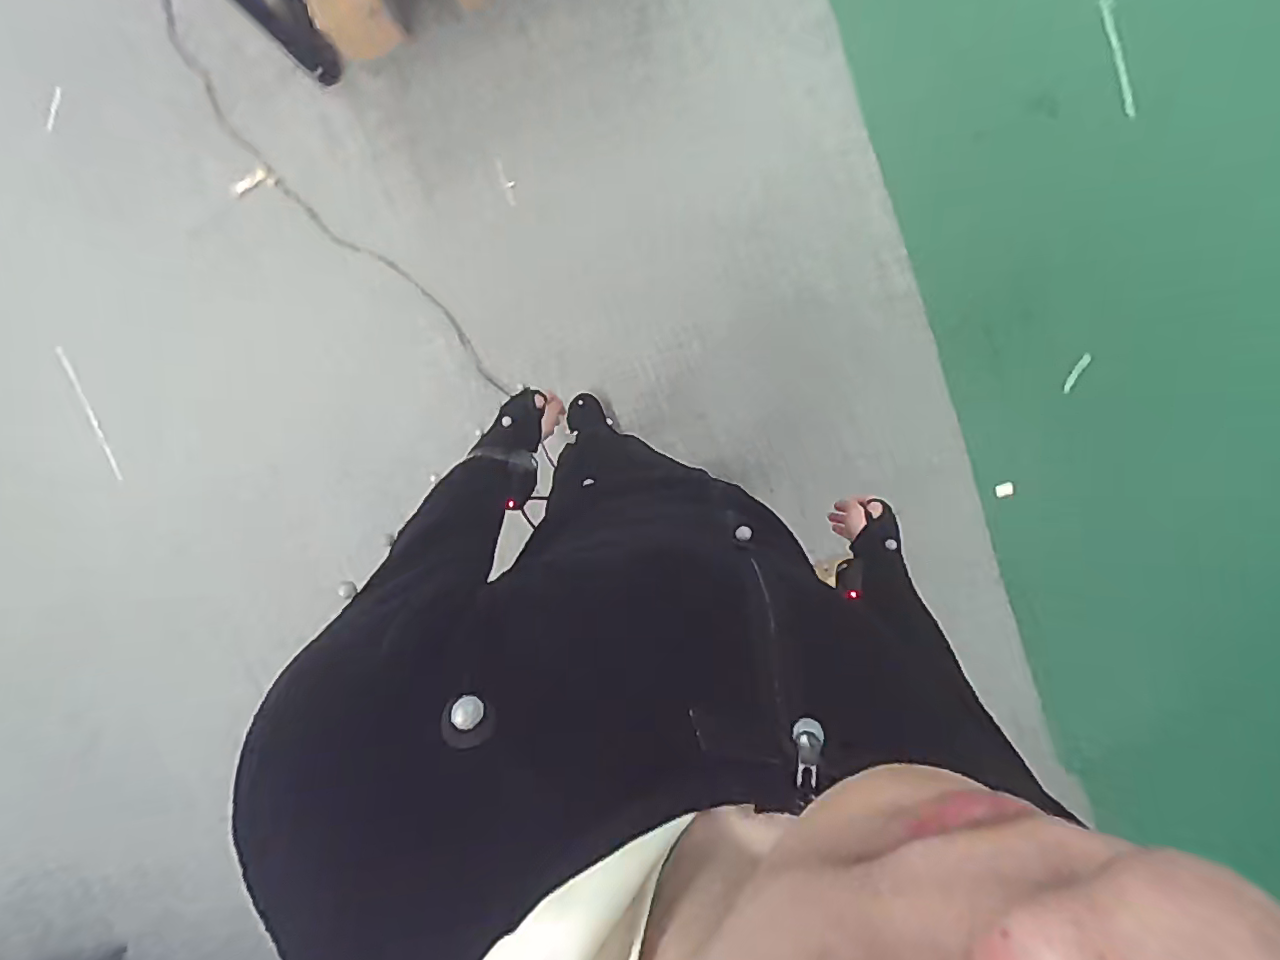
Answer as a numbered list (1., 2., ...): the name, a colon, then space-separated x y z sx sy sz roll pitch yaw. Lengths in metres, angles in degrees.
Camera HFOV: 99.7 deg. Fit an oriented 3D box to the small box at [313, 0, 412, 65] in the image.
1. small box: -0.760 -1.282 1.463 0.179 0.176 0.168 -20 94 6
